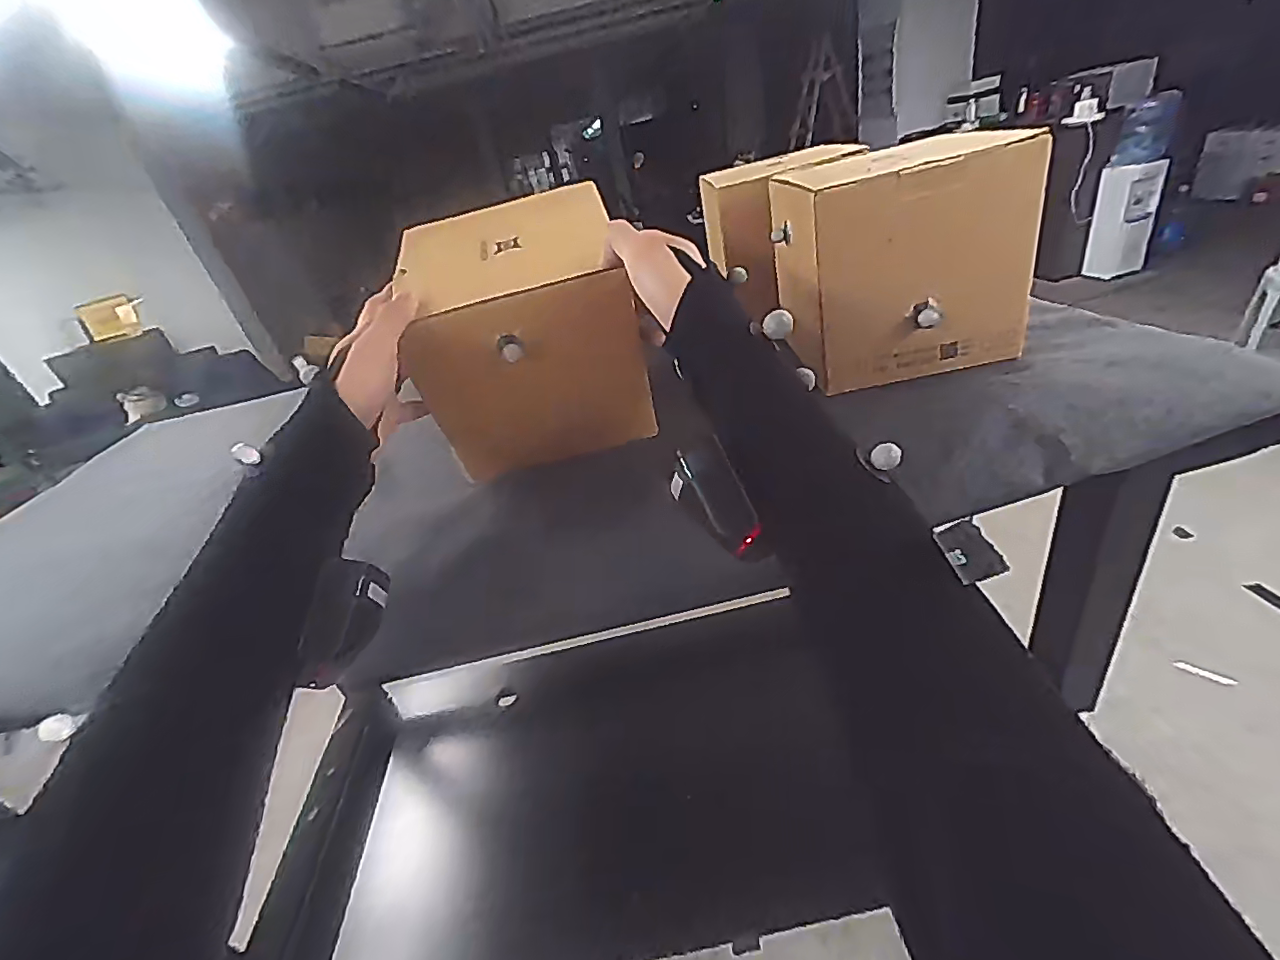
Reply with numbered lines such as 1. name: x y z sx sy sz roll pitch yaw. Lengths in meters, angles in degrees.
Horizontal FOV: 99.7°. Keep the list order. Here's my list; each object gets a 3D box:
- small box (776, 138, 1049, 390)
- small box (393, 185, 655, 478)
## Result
1. small box: 0.229 -0.201 0.504 0.168 0.176 0.179 -11 31 8
2. small box: -0.089 -0.128 0.485 0.179 0.176 0.168 -15 48 0
